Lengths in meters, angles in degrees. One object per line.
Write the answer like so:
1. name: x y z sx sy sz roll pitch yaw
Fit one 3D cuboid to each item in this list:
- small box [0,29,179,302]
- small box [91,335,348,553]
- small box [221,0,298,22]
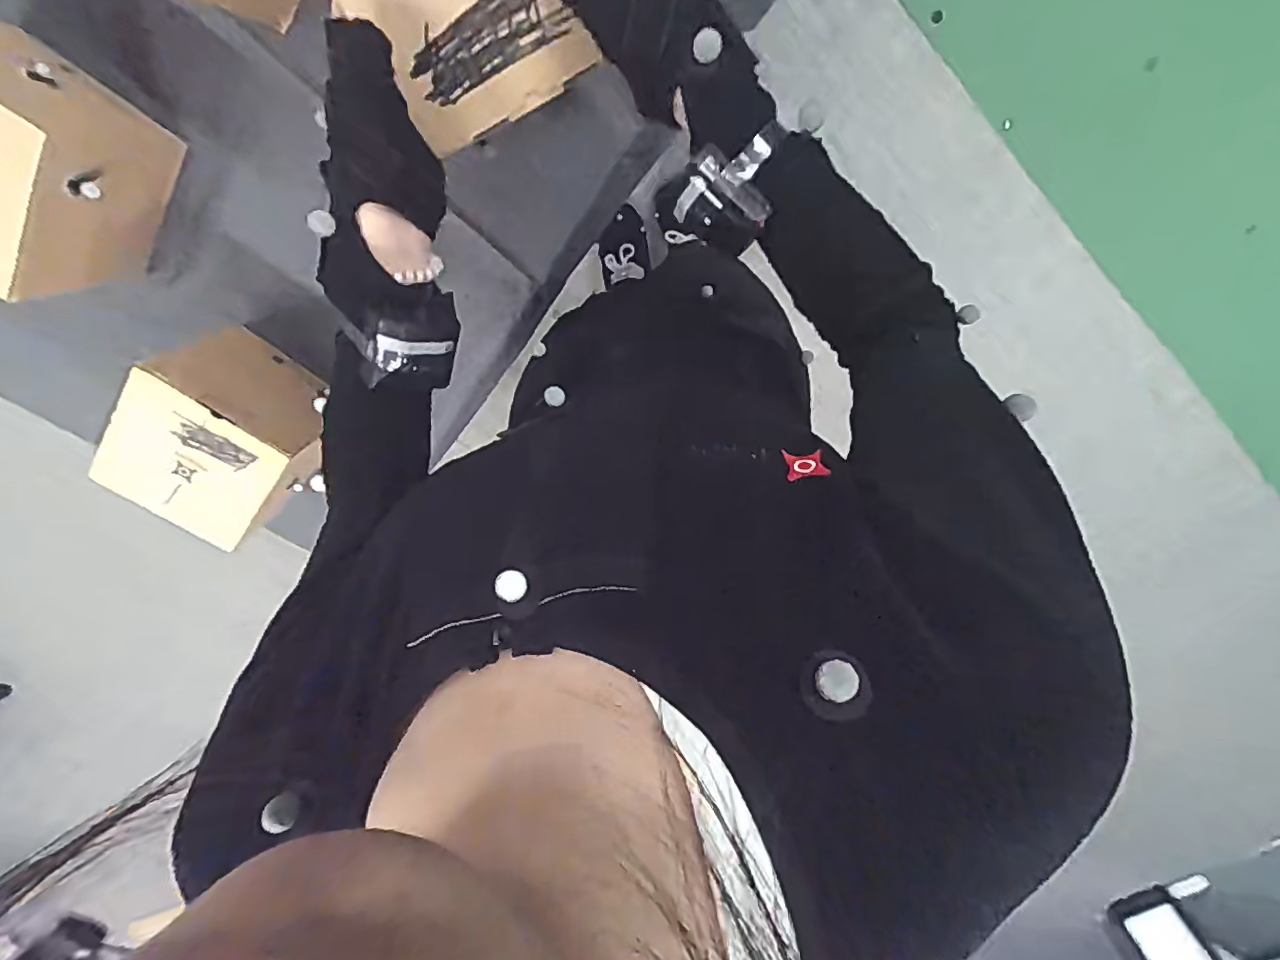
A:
1. small box: -0.606 -0.309 0.525 0.168 0.176 0.179 34 114 -18
2. small box: -0.499 -0.052 0.671 0.168 0.176 0.179 37 113 -18
3. small box: -0.373 -0.514 0.420 0.179 0.176 0.168 36 112 -19
